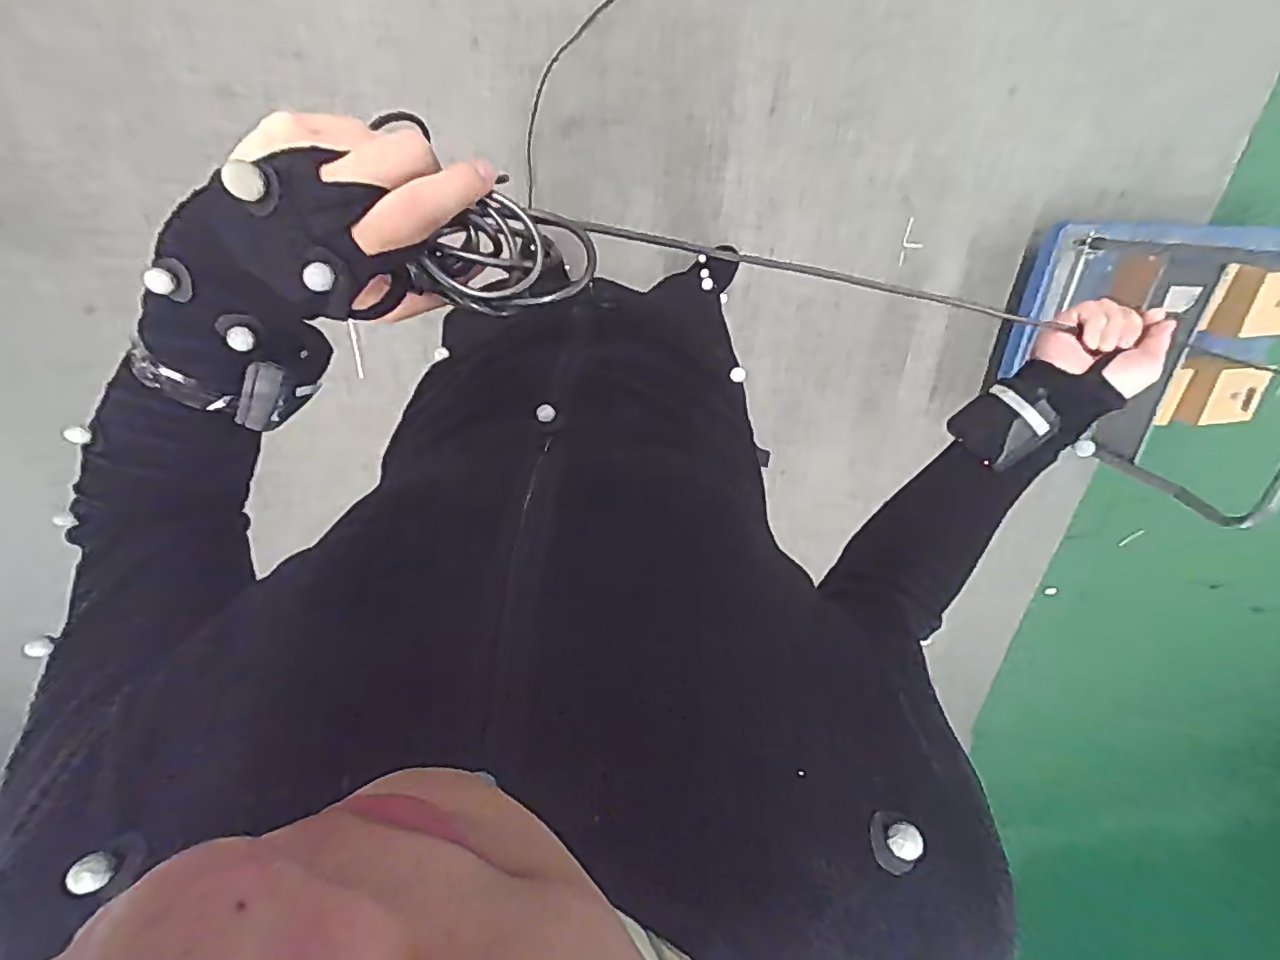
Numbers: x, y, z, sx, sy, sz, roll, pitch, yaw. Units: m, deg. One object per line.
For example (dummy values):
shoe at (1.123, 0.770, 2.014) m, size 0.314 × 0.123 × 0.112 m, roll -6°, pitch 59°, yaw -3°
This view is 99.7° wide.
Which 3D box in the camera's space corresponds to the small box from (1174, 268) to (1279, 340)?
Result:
small box at (1.651, -0.487, 1.488) m, size 0.179 × 0.176 × 0.168 m, roll -5°, pitch 118°, yaw -7°

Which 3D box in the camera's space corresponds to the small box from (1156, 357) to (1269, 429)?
small box at (1.660, -0.263, 1.603) m, size 0.179 × 0.176 × 0.168 m, roll -5°, pitch 117°, yaw -6°

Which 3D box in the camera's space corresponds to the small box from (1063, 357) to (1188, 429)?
small box at (1.393, -0.254, 1.564) m, size 0.179 × 0.176 × 0.168 m, roll -1°, pitch 117°, yaw -8°
